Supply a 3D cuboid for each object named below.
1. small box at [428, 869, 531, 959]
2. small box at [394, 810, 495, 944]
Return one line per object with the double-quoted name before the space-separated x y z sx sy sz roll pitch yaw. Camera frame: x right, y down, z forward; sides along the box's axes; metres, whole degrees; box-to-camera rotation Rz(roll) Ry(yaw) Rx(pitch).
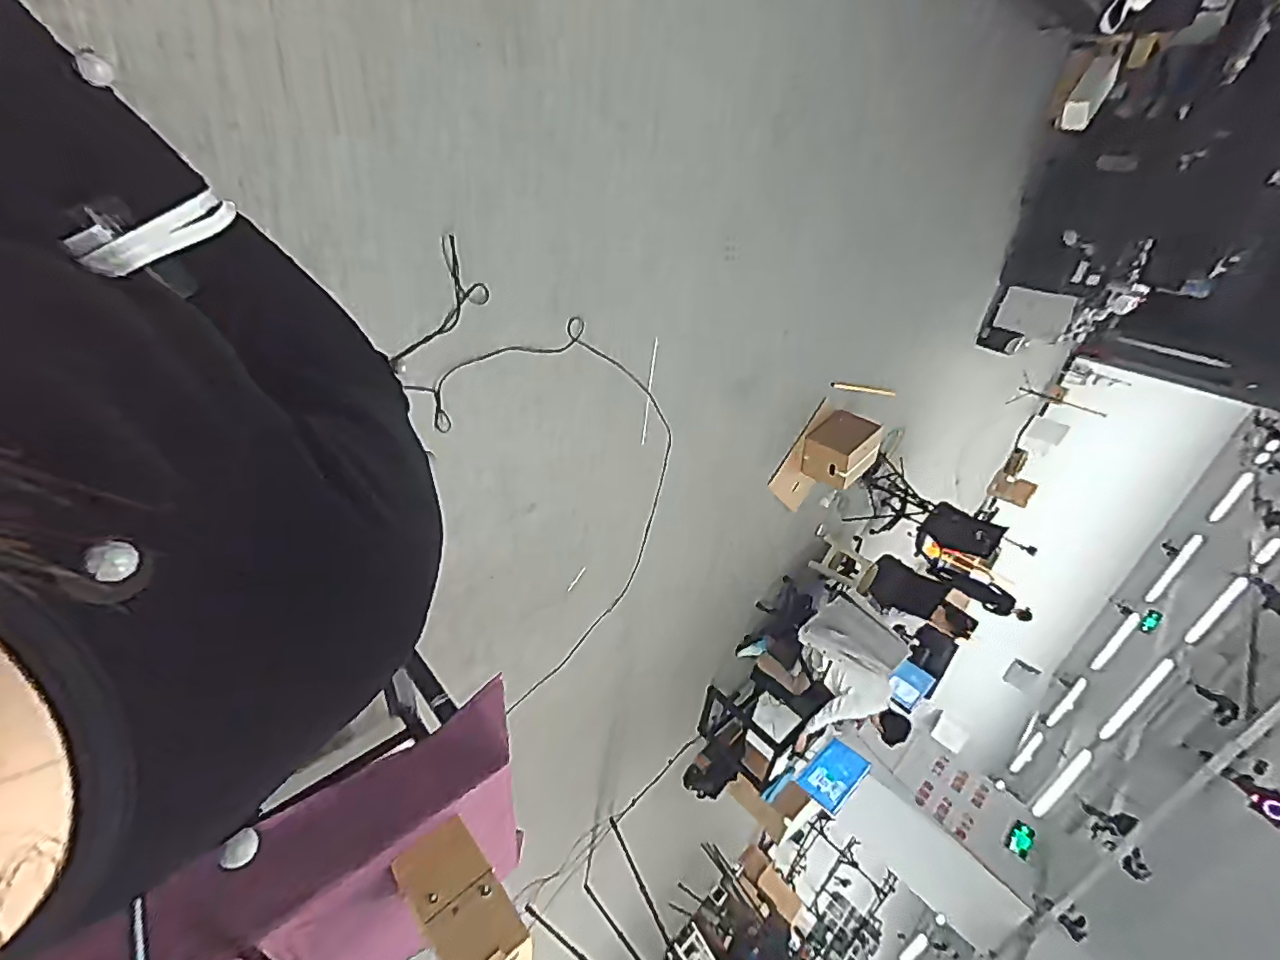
"small box" -0.364 1.037 1.228 0.168 0.176 0.179 -23 134 -37
"small box" -0.474 0.960 1.323 0.179 0.176 0.168 -22 133 -37
